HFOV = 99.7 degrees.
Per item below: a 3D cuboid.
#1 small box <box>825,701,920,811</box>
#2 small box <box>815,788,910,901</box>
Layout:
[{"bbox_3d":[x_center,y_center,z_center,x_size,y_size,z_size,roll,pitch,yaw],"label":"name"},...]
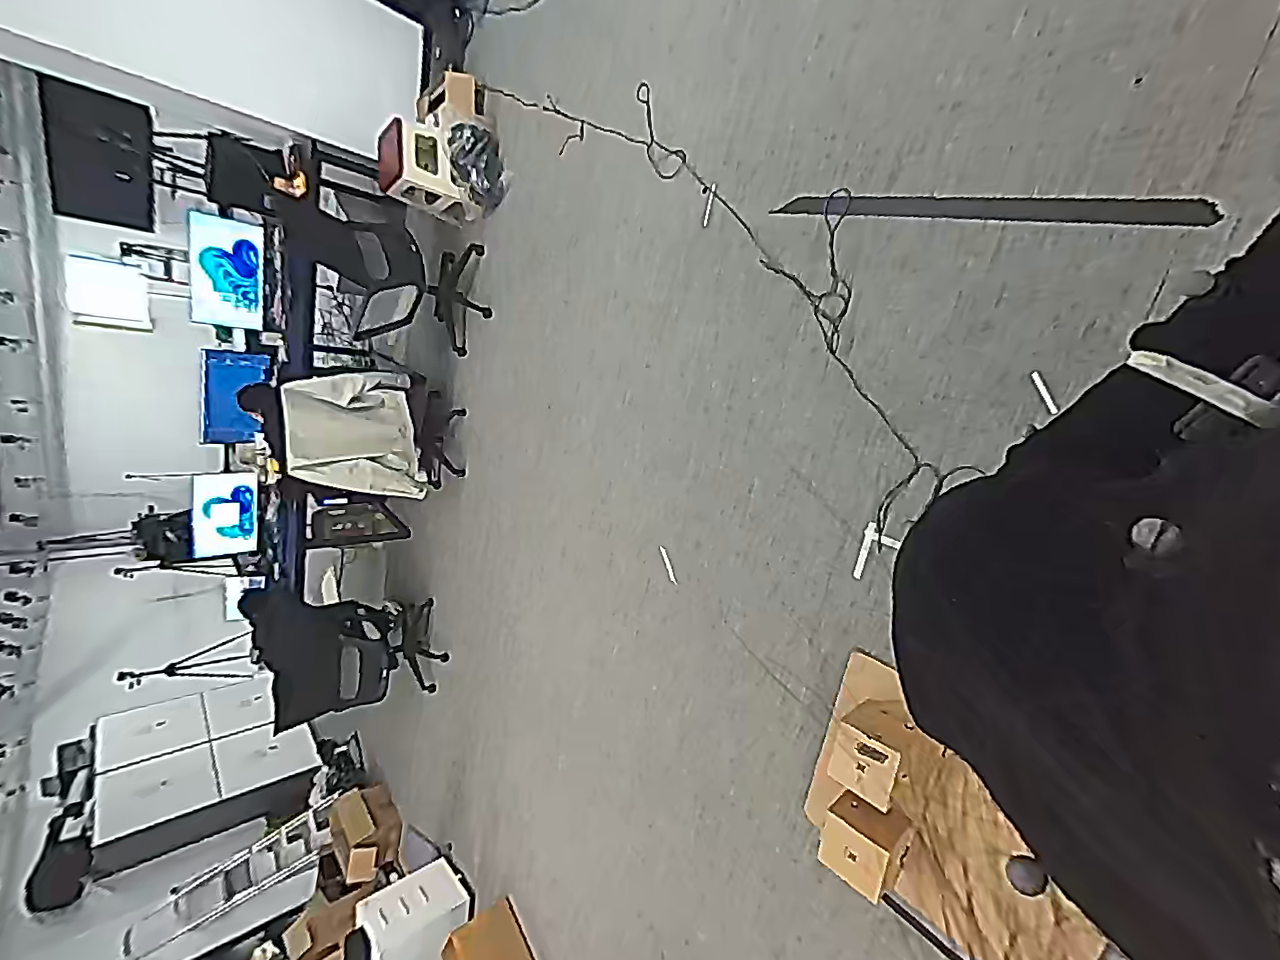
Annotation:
[{"bbox_3d":[0.630,0.731,1.457,0.168,0.176,0.179,20,107,44],"label":"small box"},{"bbox_3d":[0.615,0.989,1.494,0.179,0.176,0.168,18,107,43],"label":"small box"}]
